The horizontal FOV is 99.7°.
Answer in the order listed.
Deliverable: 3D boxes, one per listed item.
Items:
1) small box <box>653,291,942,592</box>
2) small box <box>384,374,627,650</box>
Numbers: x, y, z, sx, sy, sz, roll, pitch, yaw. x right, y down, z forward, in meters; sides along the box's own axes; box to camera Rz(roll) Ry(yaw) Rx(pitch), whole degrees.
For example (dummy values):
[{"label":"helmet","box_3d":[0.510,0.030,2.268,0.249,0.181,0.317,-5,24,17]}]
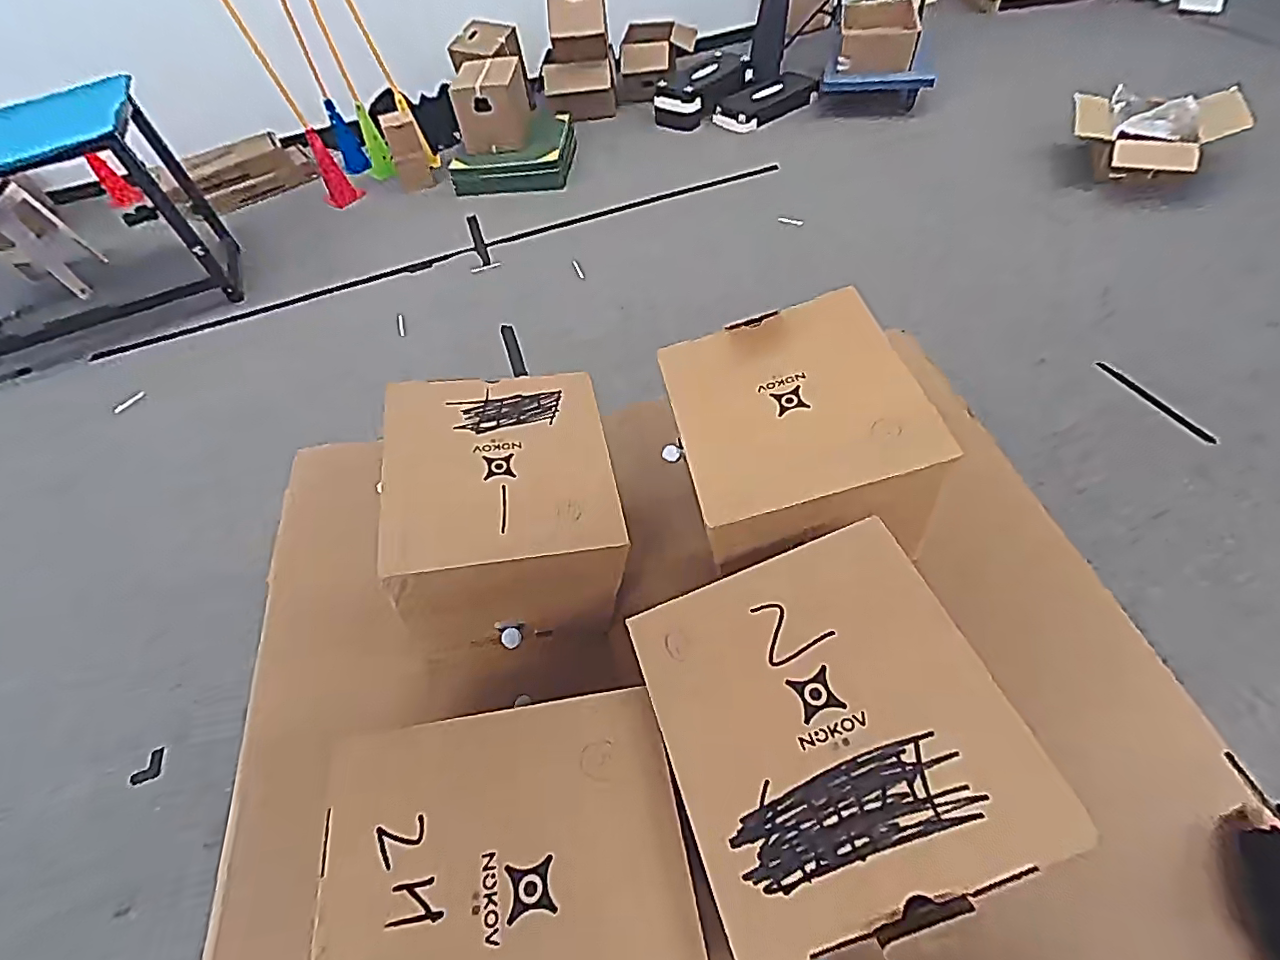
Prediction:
[{"label":"small box","box_3d":[0.122,-0.019,0.462,0.168,0.176,0.179,-17,54,6]},{"label":"small box","box_3d":[-0.115,0.029,0.480,0.168,0.176,0.179,-6,56,-13]}]
